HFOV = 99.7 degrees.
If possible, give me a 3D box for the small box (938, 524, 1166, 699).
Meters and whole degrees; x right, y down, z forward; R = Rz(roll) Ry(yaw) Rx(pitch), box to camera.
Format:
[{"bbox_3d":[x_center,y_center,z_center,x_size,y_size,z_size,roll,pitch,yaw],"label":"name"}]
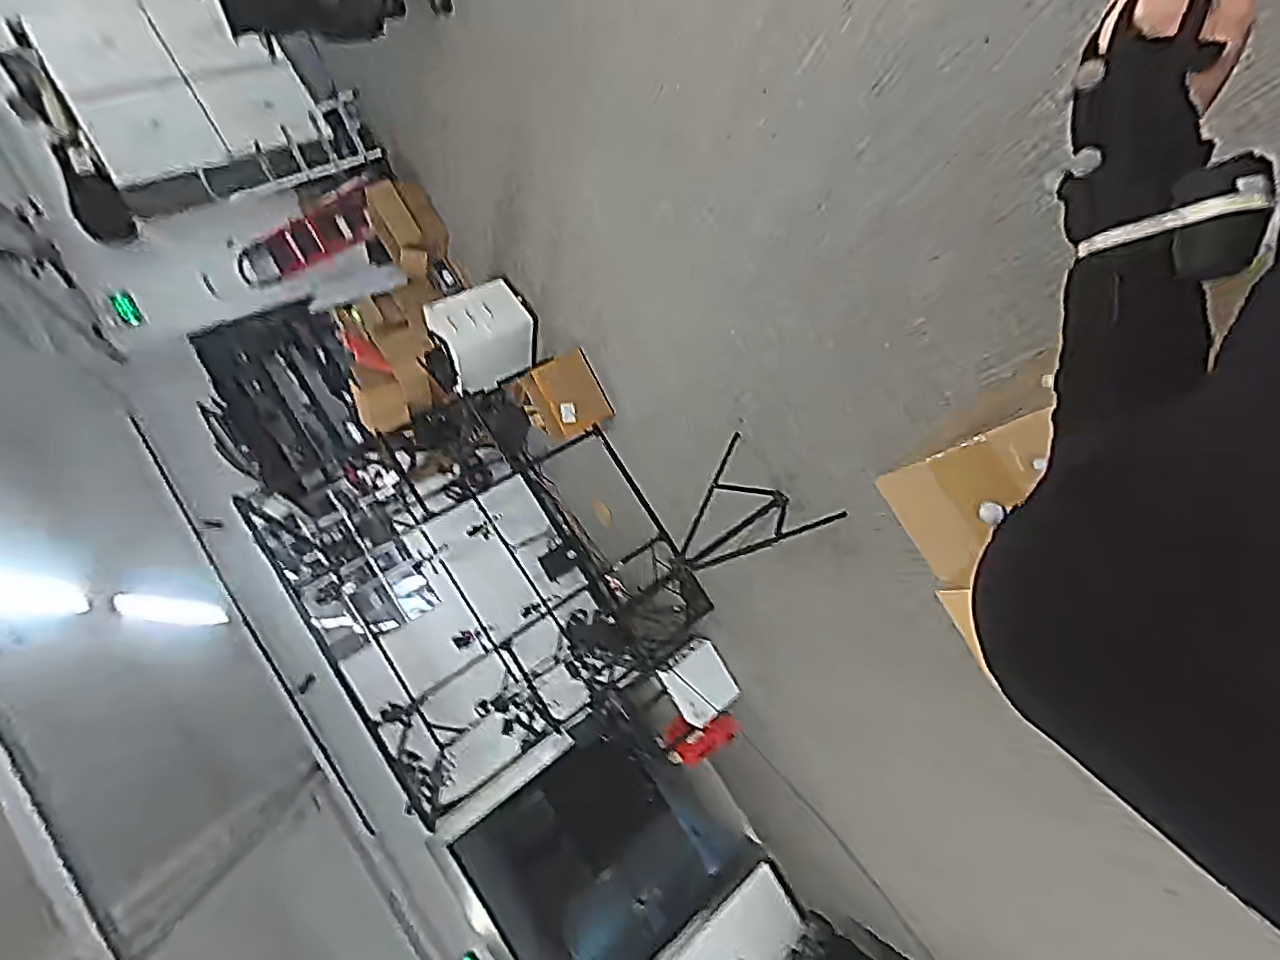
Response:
[{"bbox_3d":[0.580,0.176,0.769,0.179,0.176,0.168,57,157,1],"label":"small box"}]
